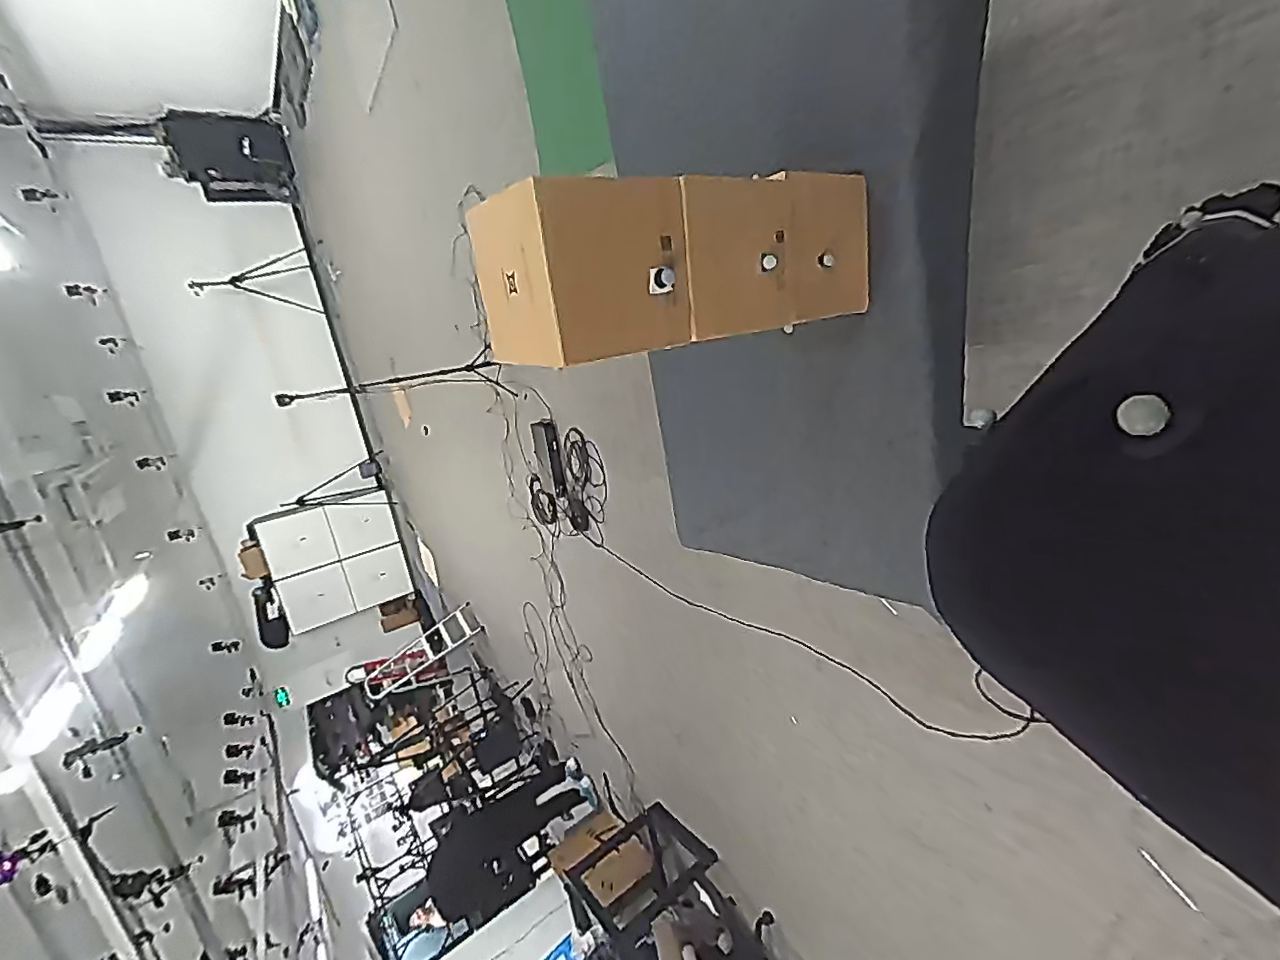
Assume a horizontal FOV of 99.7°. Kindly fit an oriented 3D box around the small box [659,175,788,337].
[{"bbox_3d":[0.064,-0.273,0.689,0.179,0.176,0.168,17,119,55],"label":"small box"}]

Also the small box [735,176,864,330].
[{"bbox_3d":[0.200,-0.318,0.771,0.168,0.176,0.179,15,119,53],"label":"small box"}]

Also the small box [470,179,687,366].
[{"bbox_3d":[-0.067,-0.227,0.607,0.179,0.176,0.168,18,122,51],"label":"small box"}]
